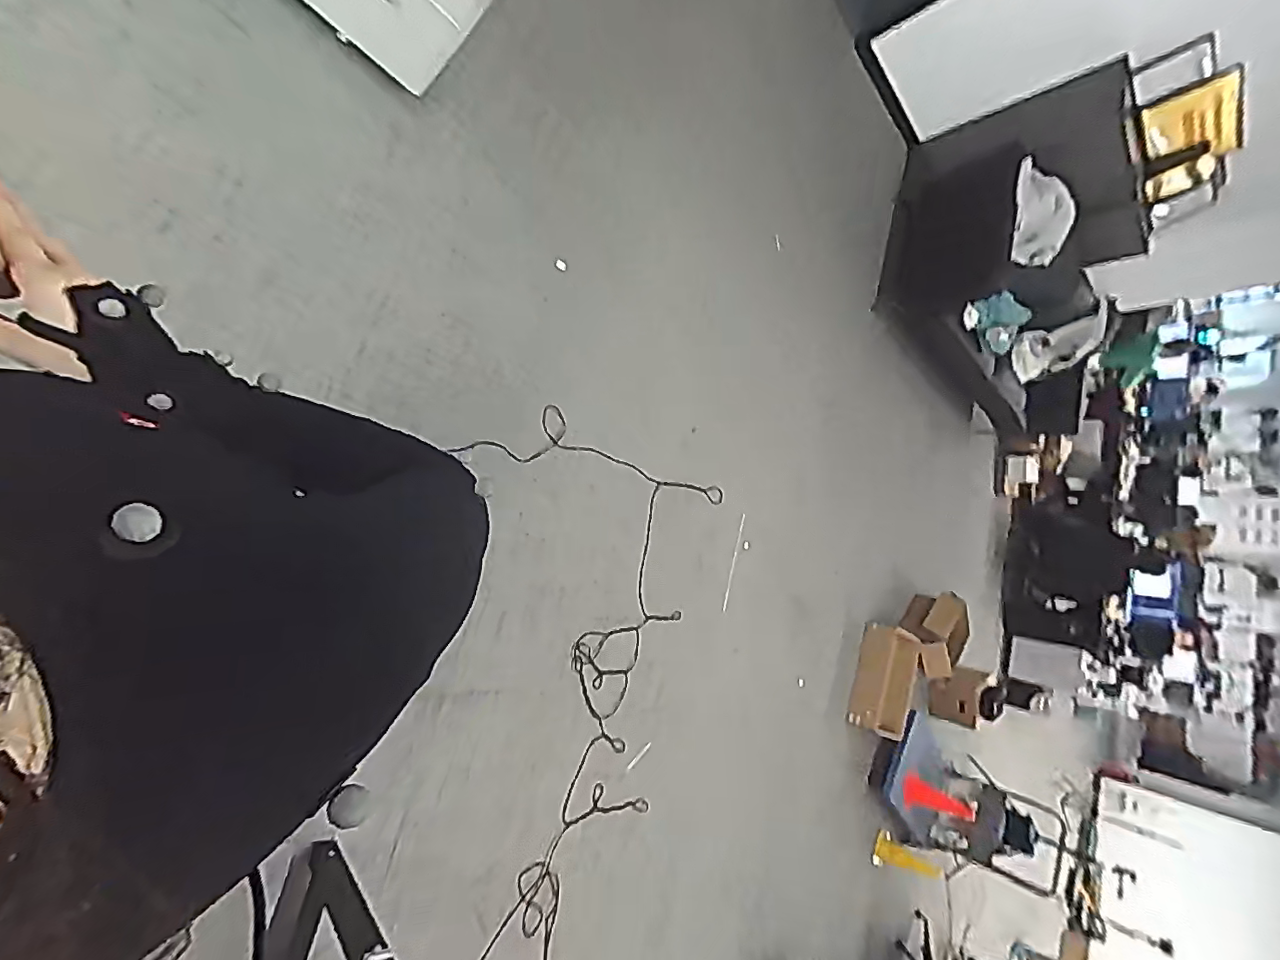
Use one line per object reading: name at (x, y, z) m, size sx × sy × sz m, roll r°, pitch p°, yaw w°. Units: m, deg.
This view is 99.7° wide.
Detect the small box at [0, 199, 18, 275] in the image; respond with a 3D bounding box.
small box at (-0.442, -0.200, 0.246) m, size 0.179 × 0.176 × 0.168 m, roll -17°, pitch 95°, yaw -45°
